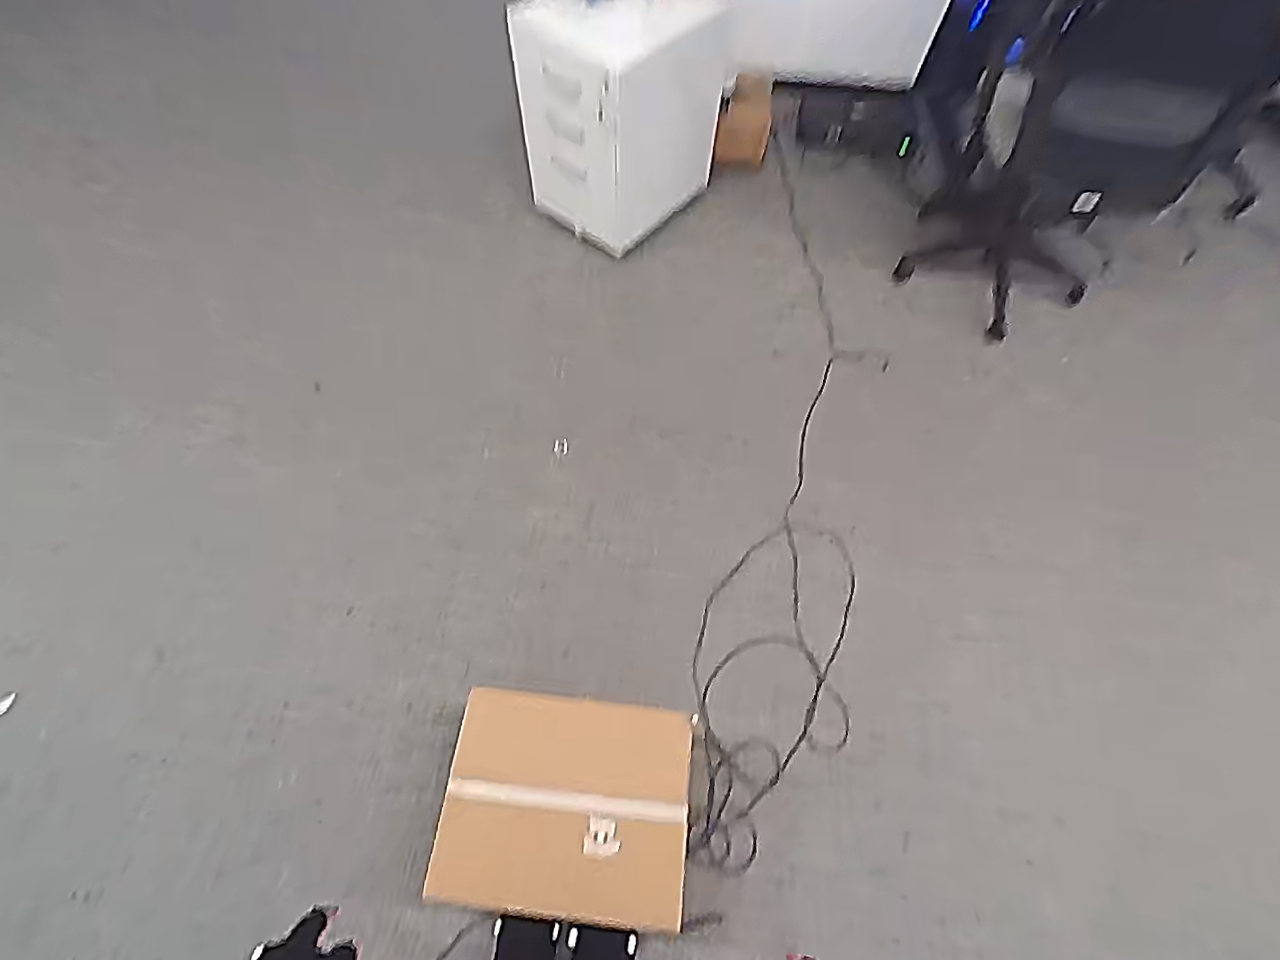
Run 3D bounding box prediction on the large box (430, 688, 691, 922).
[{"bbox_3d":[-0.126,0.602,1.041,0.408,0.320,0.320,6,63,1],"label":"large box"}]
